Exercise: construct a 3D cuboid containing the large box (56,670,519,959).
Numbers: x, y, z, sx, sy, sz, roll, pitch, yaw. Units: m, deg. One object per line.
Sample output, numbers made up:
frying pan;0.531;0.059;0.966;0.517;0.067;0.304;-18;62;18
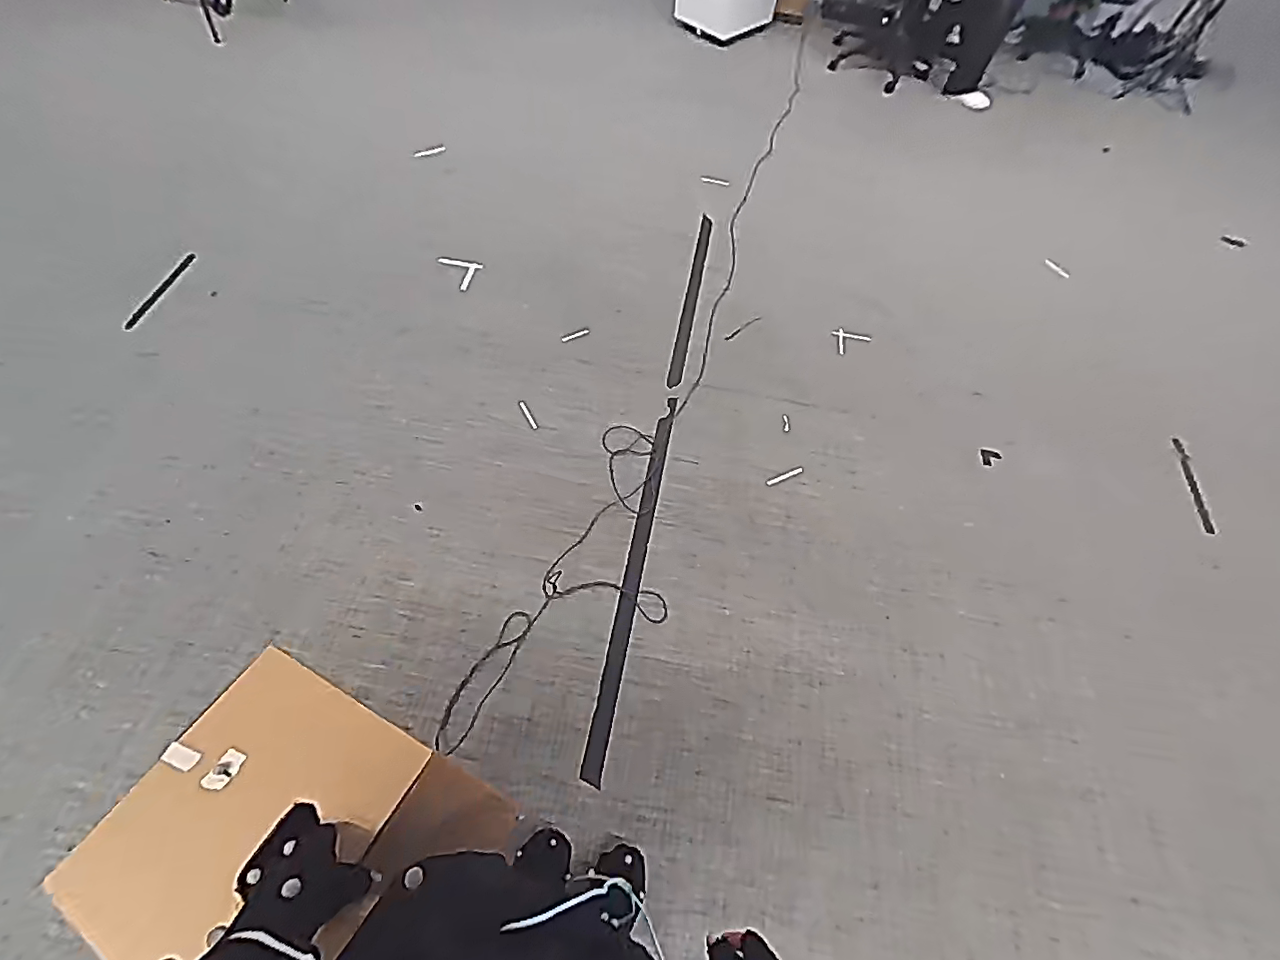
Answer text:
large box;-0.430;0.530;0.770;0.320;0.408;0.320;20;55;21
